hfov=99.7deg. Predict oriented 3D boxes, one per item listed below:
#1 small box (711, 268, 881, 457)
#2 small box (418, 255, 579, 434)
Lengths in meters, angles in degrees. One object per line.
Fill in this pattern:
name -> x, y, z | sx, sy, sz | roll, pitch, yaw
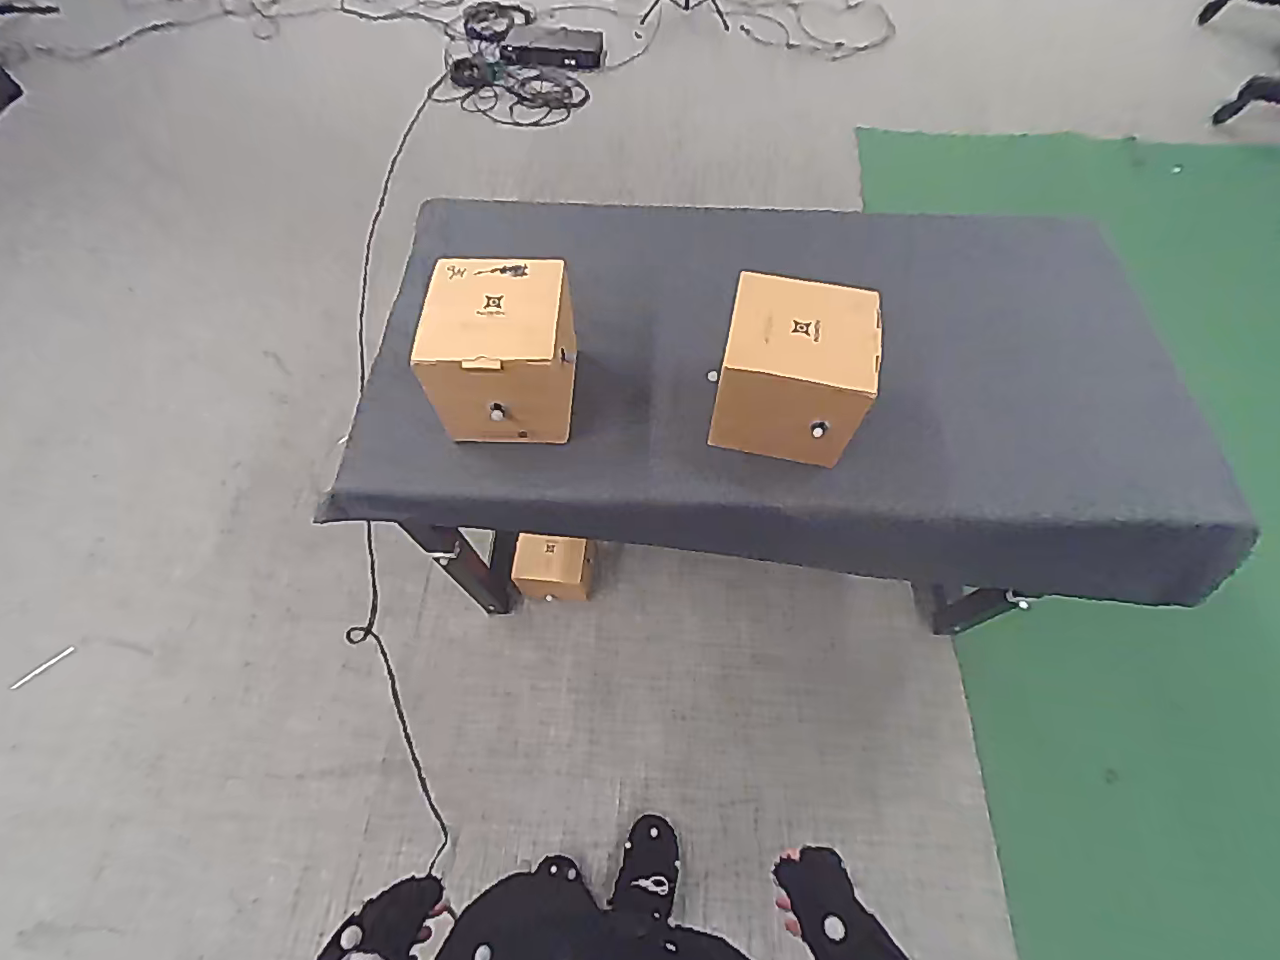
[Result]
small box -> 0.200, -0.148, 0.717 | 0.179, 0.176, 0.168 | 10, 61, 6
small box -> -0.174, -0.175, 0.727 | 0.168, 0.176, 0.179 | 0, 62, -1
